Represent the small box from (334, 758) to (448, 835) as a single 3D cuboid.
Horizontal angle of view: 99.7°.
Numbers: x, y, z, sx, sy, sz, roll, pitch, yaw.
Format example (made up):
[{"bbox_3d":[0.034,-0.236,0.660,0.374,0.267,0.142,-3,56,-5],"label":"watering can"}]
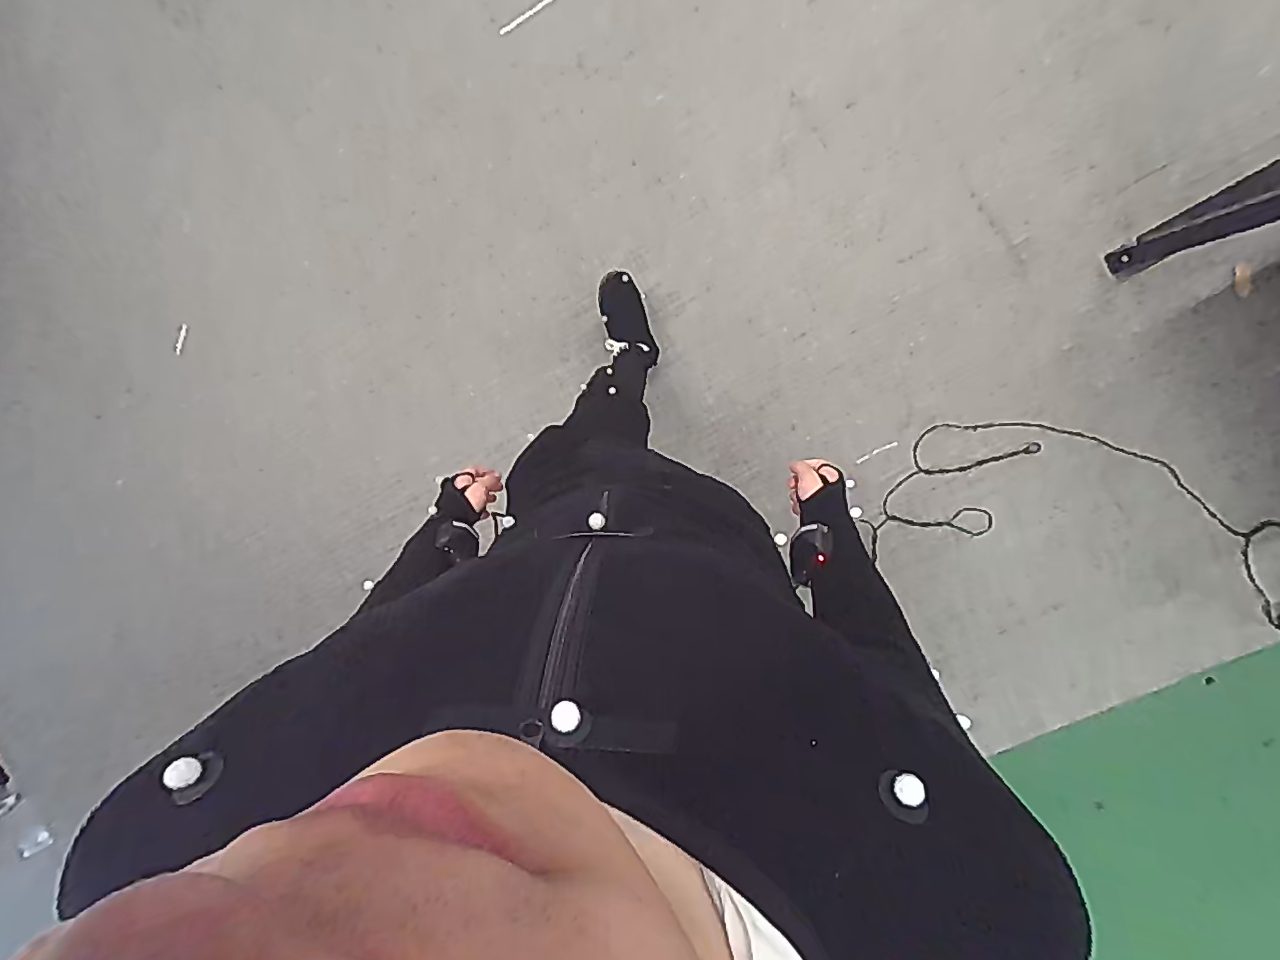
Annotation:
[{"bbox_3d":[-0.559,0.795,1.265,0.179,0.176,0.168,-26,96,5],"label":"small box"}]
